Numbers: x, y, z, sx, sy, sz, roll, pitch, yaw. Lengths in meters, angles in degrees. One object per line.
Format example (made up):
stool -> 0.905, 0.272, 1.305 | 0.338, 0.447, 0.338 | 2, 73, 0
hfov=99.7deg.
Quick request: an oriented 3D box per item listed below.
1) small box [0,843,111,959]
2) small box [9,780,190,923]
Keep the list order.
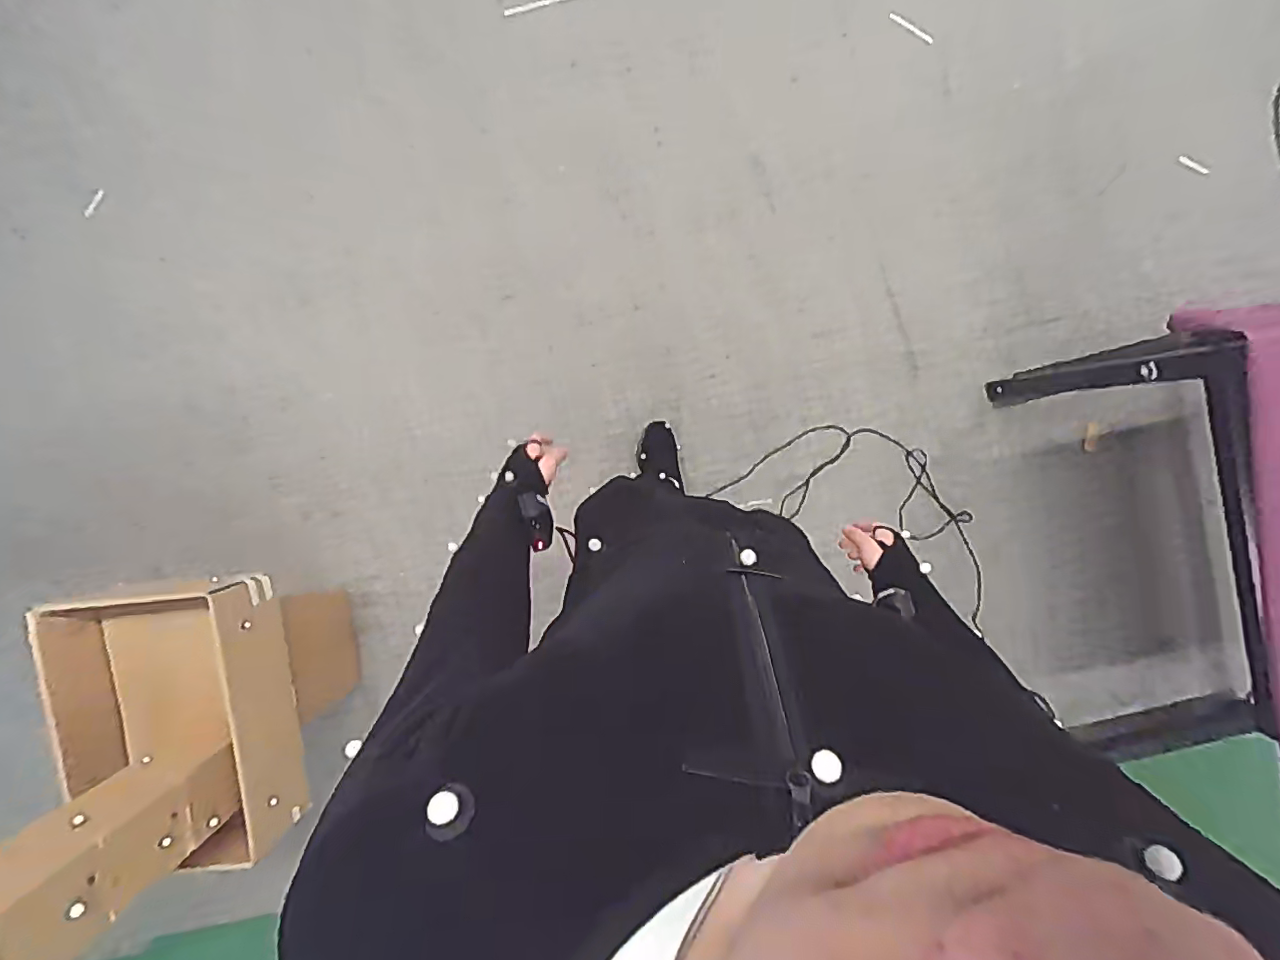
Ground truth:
small box -> -1.034, 0.728, 0.880 | 0.179, 0.176, 0.168 | -3, 96, 0
small box -> -1.029, 0.711, 1.044 | 0.179, 0.176, 0.168 | -4, 96, 0
